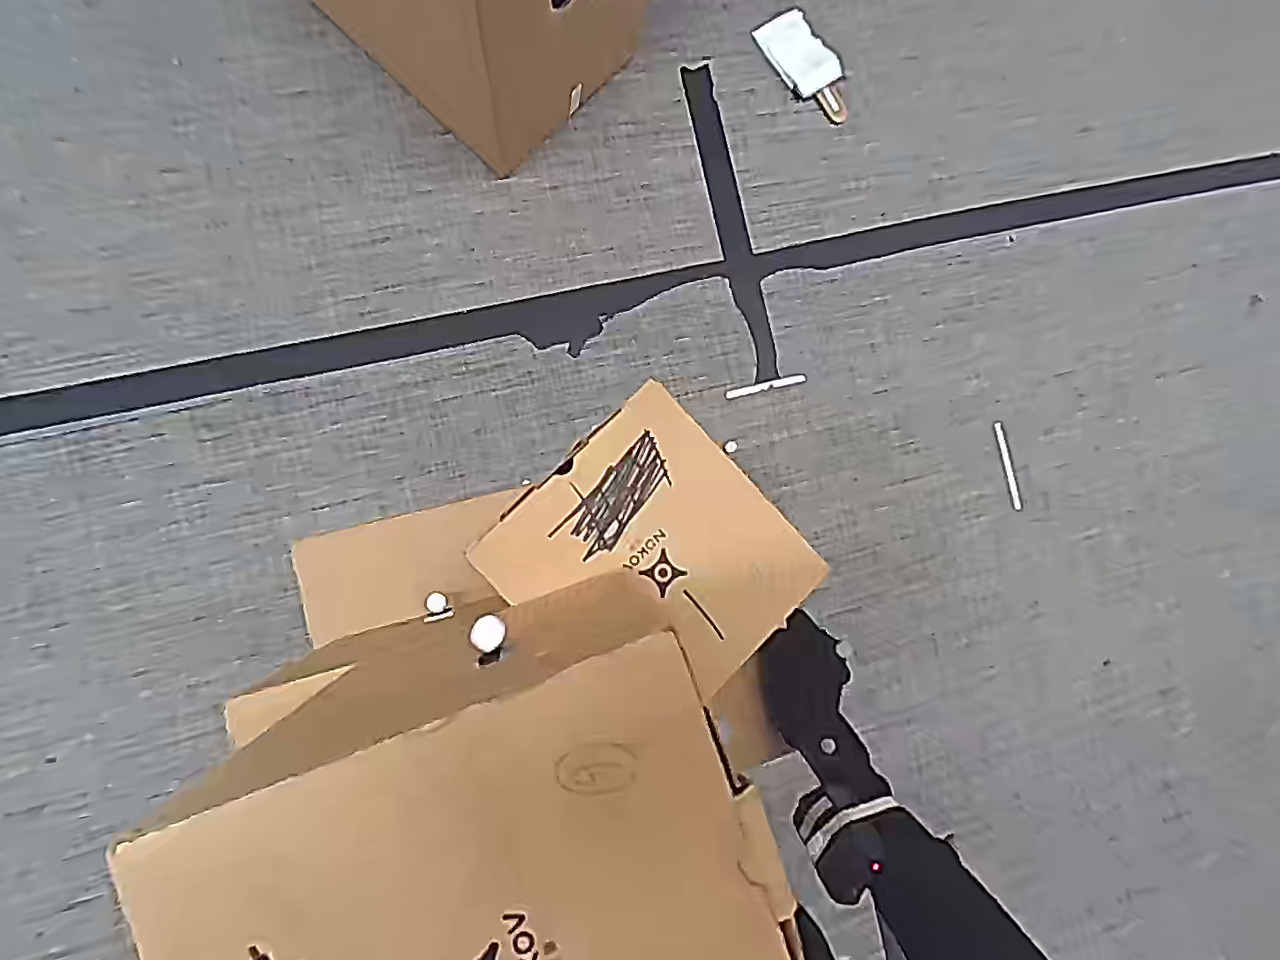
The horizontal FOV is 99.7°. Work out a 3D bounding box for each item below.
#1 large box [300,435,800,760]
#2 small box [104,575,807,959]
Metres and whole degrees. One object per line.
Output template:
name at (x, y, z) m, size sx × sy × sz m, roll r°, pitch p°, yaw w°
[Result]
large box at (-0.094, 0.165, 0.643) m, size 0.408 × 0.320 × 0.320 m, roll -15°, pitch 89°, yaw -9°
small box at (-0.051, 0.152, 0.238) m, size 0.179 × 0.176 × 0.168 m, roll -20°, pitch 89°, yaw -8°
